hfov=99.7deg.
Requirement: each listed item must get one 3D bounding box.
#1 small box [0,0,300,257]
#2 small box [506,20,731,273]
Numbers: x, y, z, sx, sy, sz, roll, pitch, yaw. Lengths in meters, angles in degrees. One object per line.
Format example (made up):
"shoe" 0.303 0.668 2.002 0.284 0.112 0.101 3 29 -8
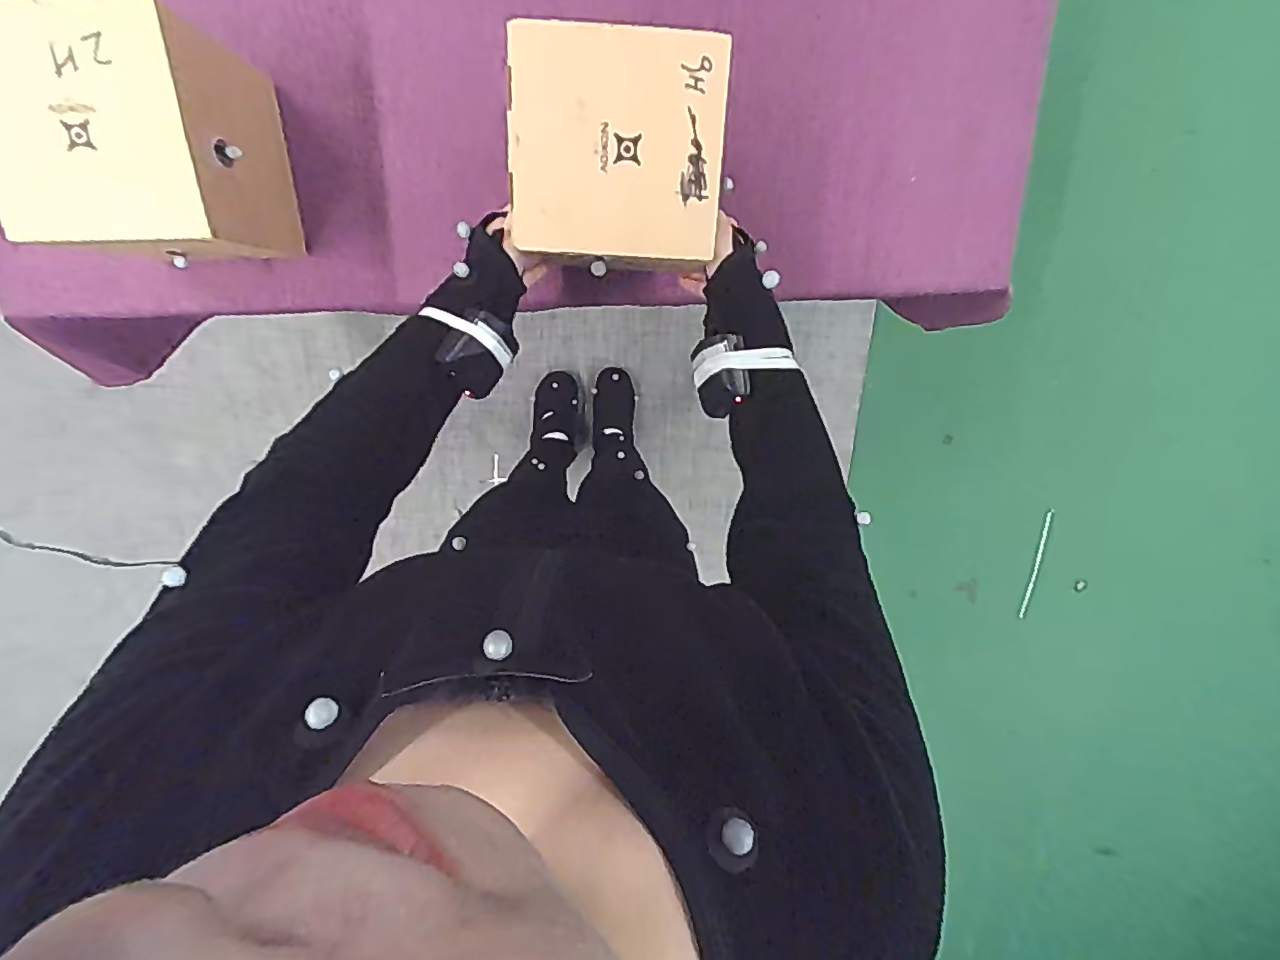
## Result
"small box" -0.459 -0.312 0.515 0.168 0.176 0.179 -2 107 -5
"small box" -0.022 -0.295 0.517 0.179 0.176 0.168 3 108 -2
